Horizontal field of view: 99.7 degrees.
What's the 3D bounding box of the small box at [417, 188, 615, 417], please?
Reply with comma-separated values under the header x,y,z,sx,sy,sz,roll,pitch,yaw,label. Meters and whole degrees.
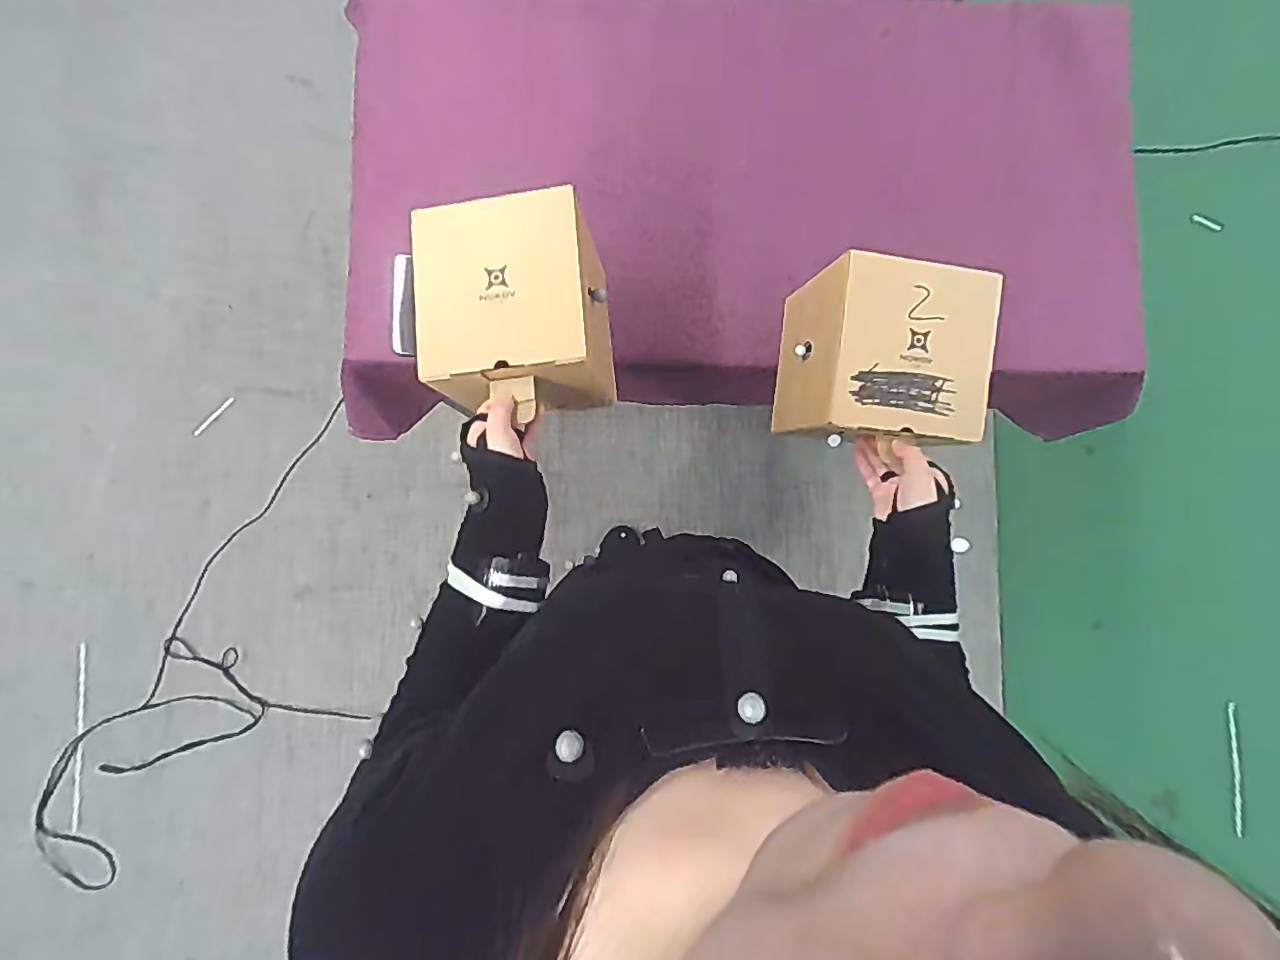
x,y,z,sx,sy,sz,roll,pitch,yaw,label
-0.123,-0.178,0.590,0.168,0.176,0.179,-6,84,5,small box
